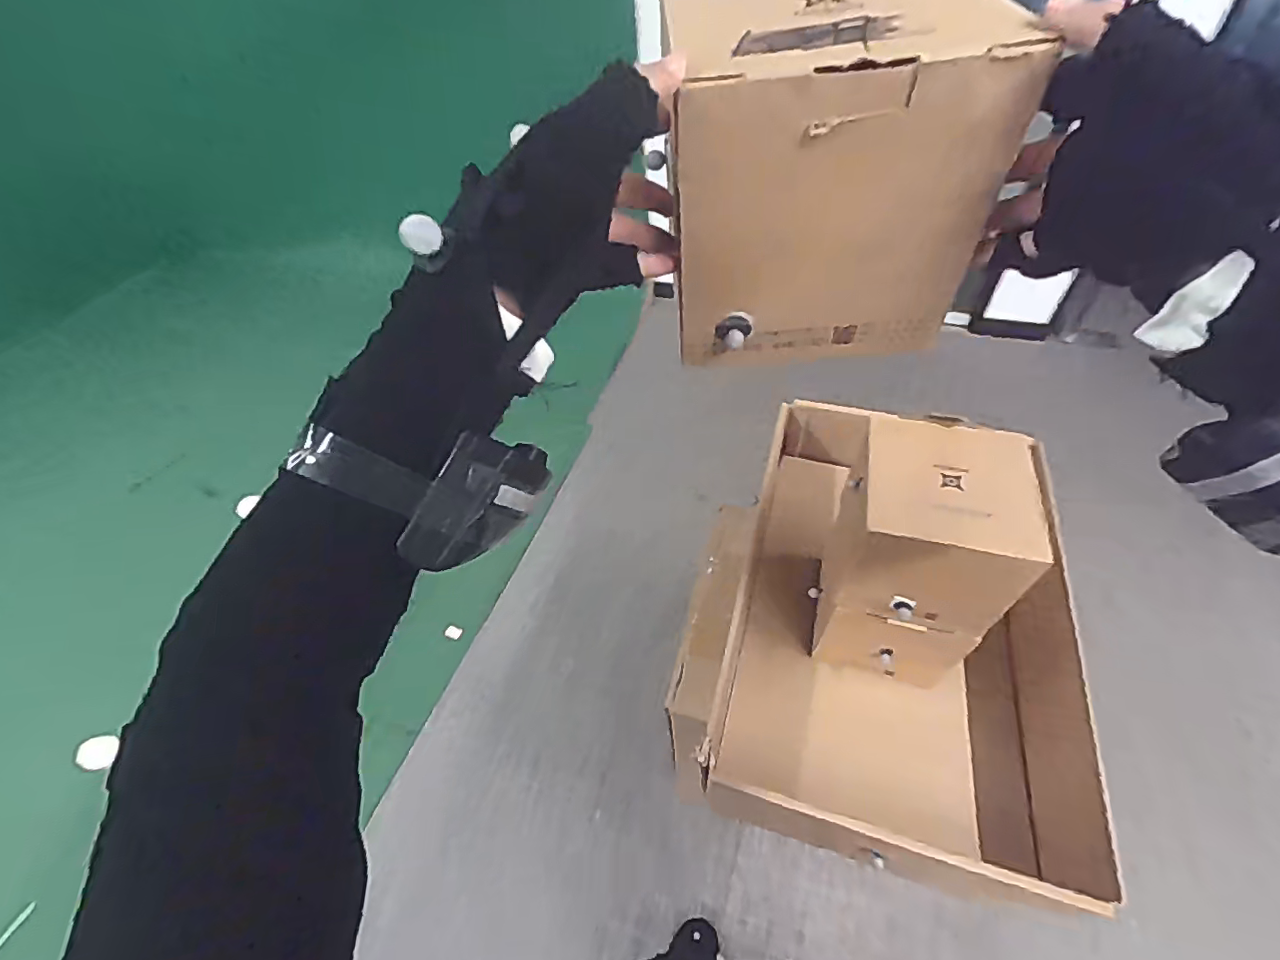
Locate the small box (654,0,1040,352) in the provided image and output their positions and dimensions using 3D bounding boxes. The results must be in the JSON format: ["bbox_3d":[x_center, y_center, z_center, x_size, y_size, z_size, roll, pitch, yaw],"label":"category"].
[{"bbox_3d":[0.098,-0.197,0.350,0.168,0.176,0.179,-4,53,2],"label":"small box"}]

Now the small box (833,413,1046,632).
[{"bbox_3d":[0.330,0.050,0.634,0.168,0.176,0.179,10,52,13],"label":"small box"}]
